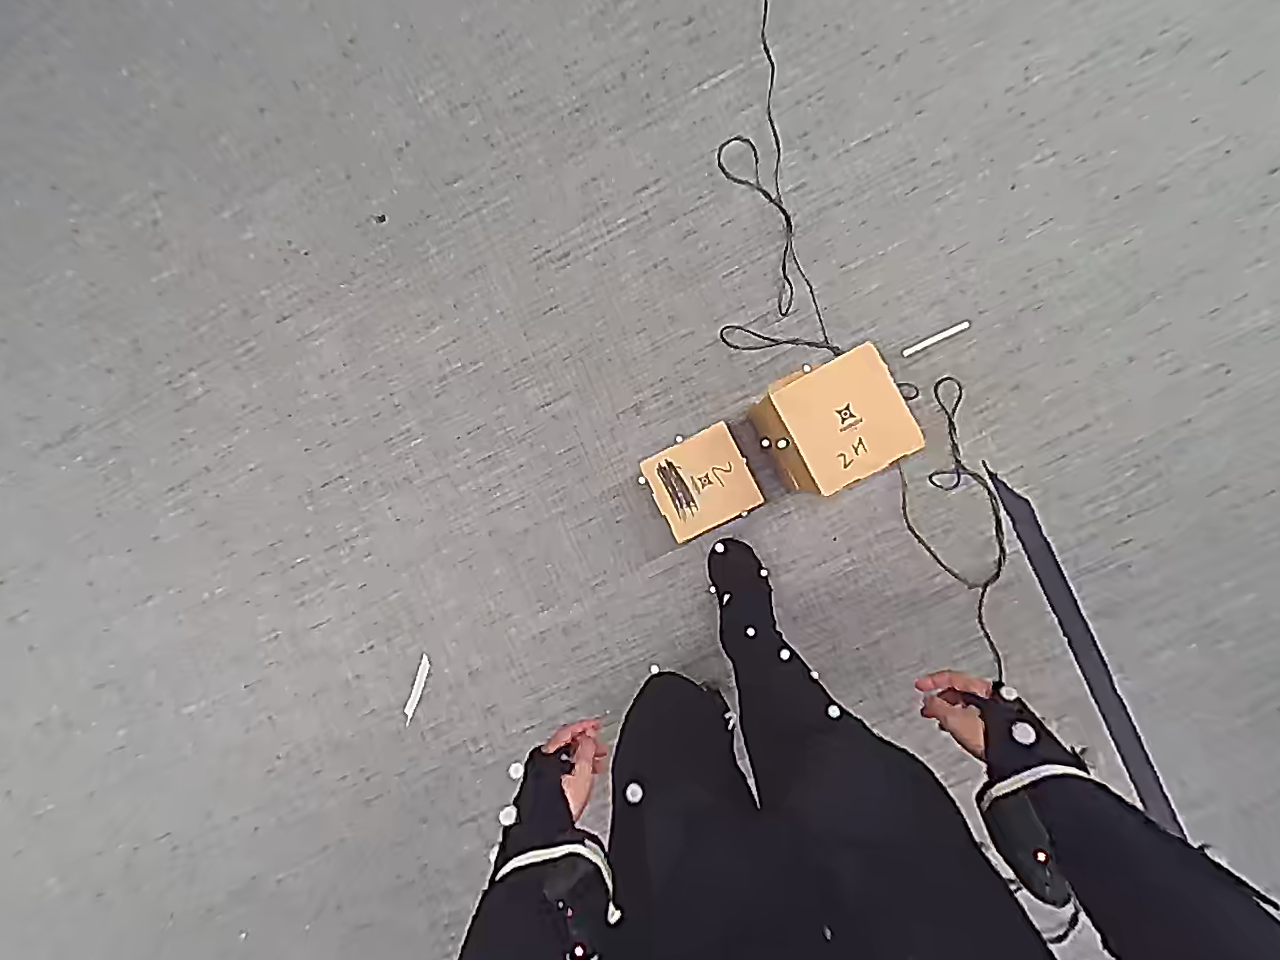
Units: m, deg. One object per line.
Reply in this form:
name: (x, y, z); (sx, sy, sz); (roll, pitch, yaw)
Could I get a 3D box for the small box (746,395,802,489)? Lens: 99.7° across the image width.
small box: (0.315, -0.096, 1.028); (0.168, 0.176, 0.179); (-26, 91, 6)

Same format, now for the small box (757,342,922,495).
small box: (0.302, -0.090, 0.864); (0.168, 0.176, 0.179); (-28, 90, 6)
